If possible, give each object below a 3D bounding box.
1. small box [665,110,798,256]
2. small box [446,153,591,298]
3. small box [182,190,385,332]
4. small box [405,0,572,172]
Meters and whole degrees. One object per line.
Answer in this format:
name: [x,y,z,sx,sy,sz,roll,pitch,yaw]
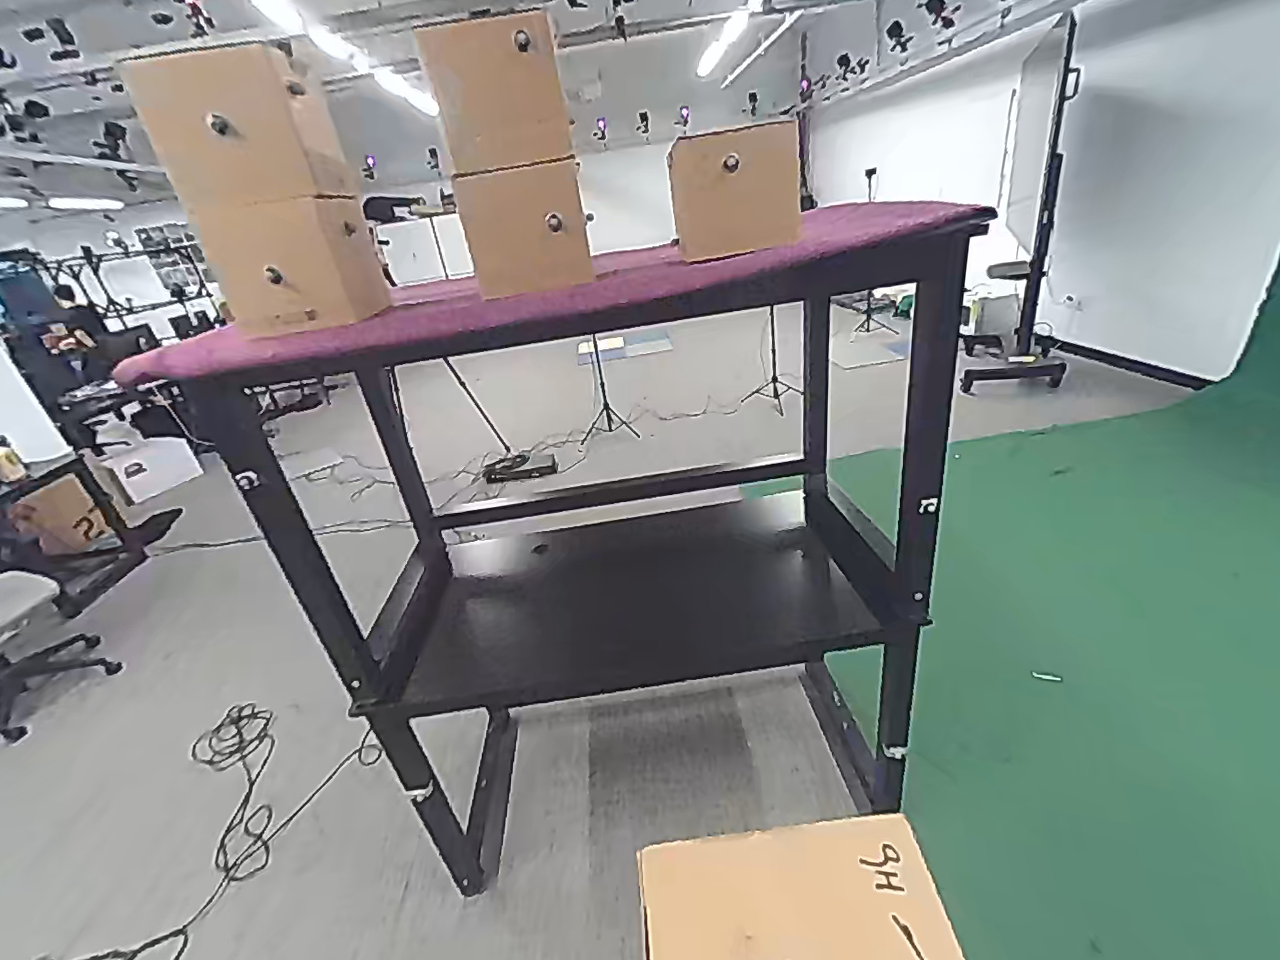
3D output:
small box: [0.142,-0.459,0.859,0.179,0.176,0.168,-9,25,2]
small box: [-0.173,-0.392,0.838,0.179,0.176,0.168,-11,27,-1]
small box: [-0.508,-0.326,0.808,0.168,0.176,0.179,-9,28,-2]
small box: [-0.200,-0.536,0.767,0.179,0.176,0.168,-11,27,-3]
